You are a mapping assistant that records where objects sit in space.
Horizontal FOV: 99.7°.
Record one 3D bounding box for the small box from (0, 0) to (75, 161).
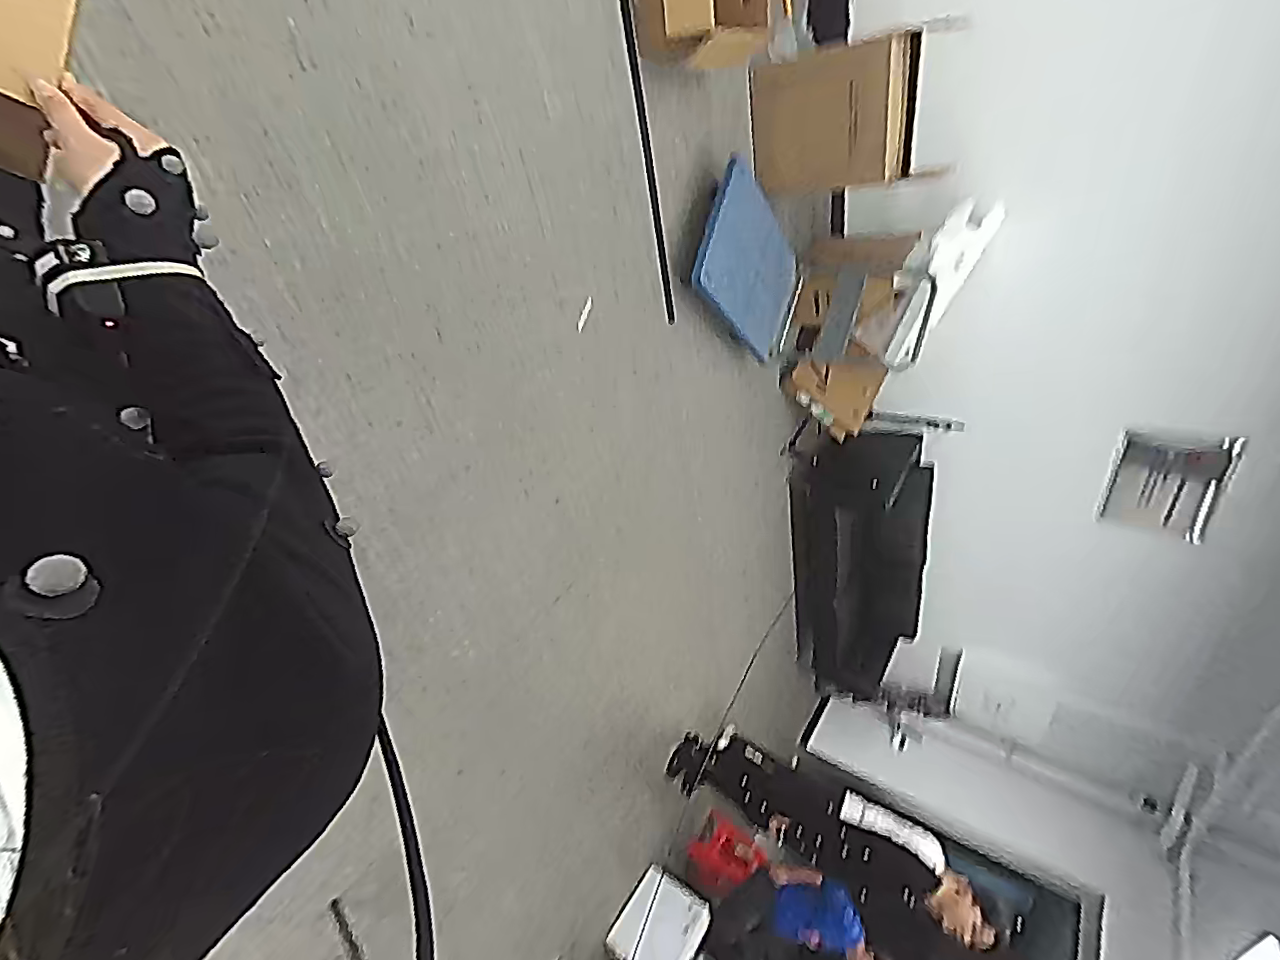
[{"bbox_3d":[-0.533,-0.364,0.380,0.179,0.176,0.168,10,86,-51],"label":"small box"}]
